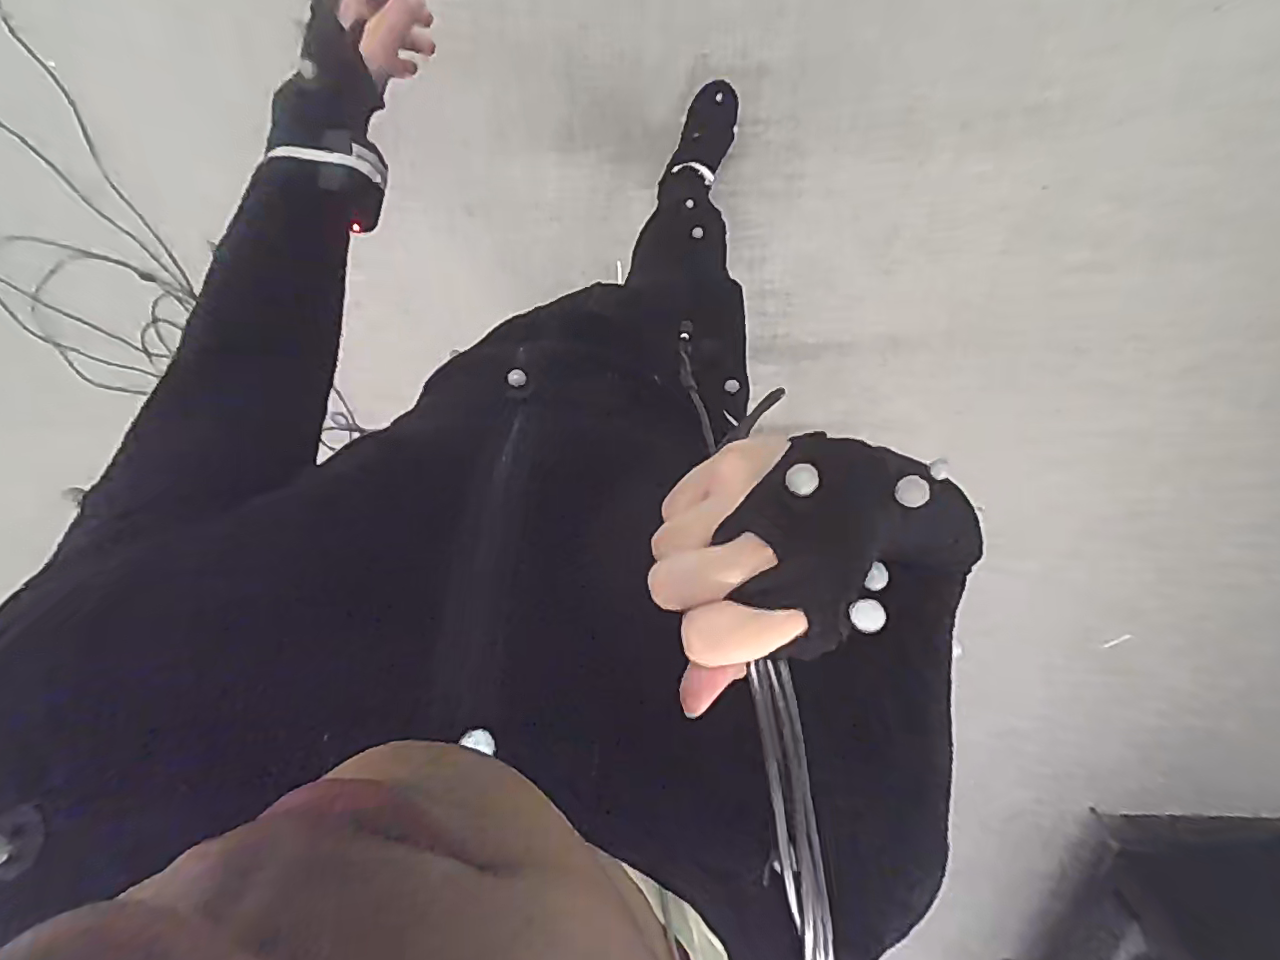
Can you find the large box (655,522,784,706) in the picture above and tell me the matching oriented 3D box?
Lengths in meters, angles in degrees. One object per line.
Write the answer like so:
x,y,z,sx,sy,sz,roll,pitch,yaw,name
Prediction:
0.207,0.369,1.521,0.320,0.320,0.408,-2,118,3,large box
